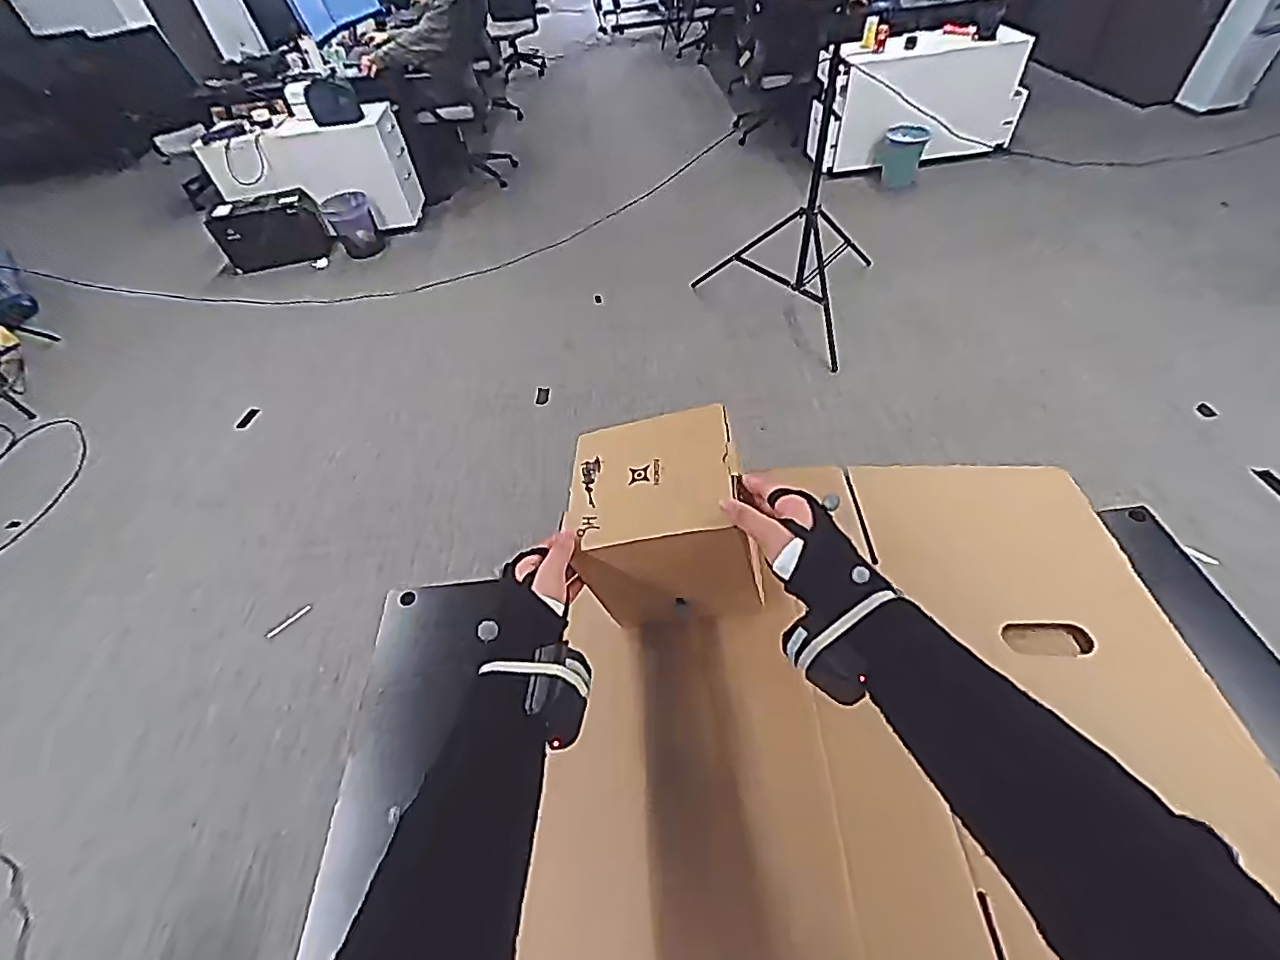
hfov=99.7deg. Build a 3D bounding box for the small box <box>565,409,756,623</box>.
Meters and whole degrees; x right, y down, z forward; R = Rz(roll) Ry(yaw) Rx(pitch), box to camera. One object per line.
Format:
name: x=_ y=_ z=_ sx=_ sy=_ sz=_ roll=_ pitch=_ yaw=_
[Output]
small box: x=0.034 y=0.048 z=0.621 sx=0.179 sy=0.176 sz=0.168 roll=-10 pitch=48 yaw=14
